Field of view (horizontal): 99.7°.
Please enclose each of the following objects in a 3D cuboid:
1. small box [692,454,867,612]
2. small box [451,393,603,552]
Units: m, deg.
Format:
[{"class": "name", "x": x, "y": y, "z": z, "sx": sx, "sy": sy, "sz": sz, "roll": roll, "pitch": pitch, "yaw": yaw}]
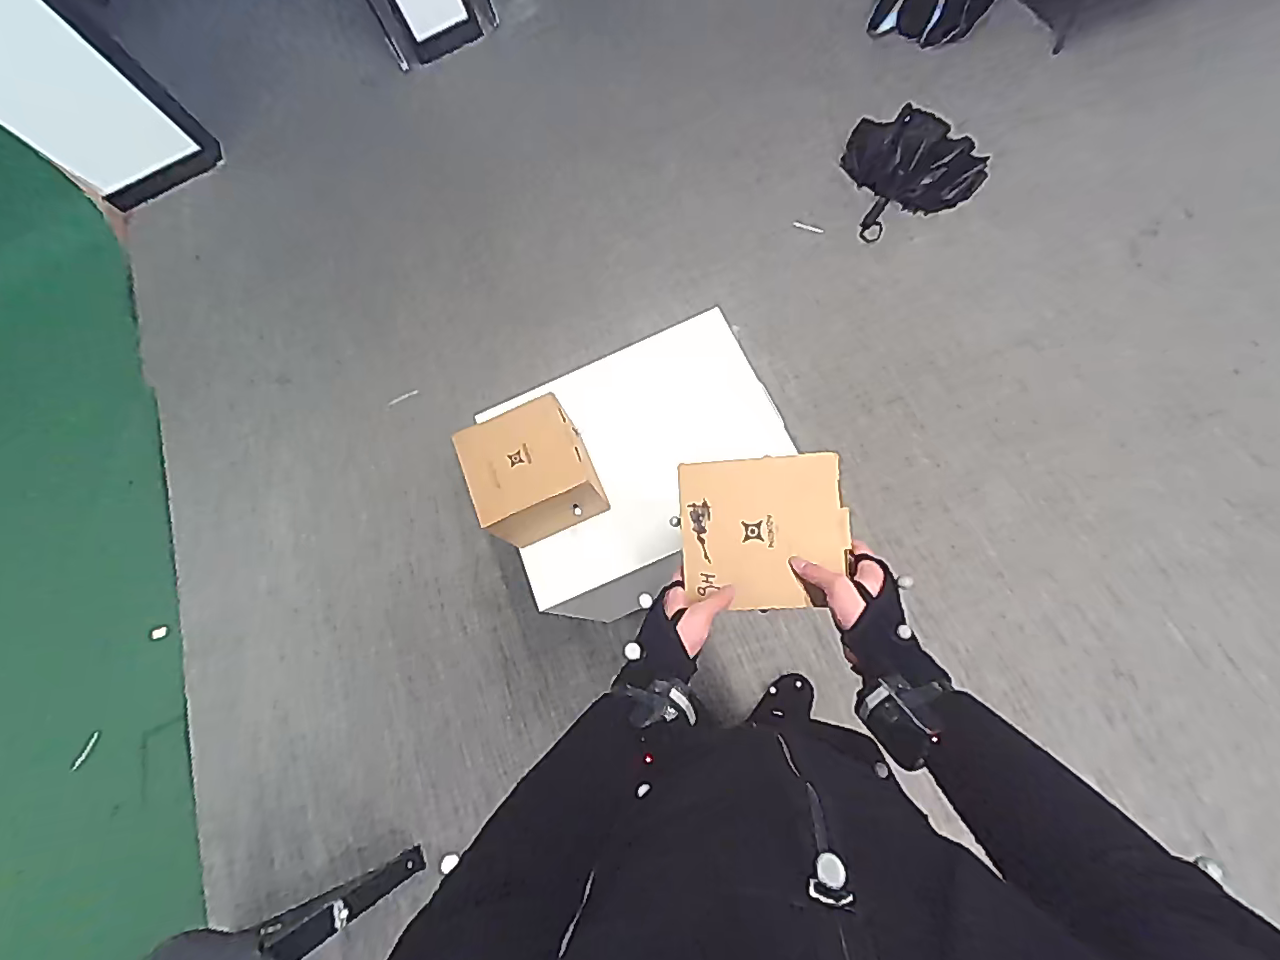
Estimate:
[{"class": "small box", "x": 0.153, "y": 0.067, "z": 0.650, "sx": 0.179, "sy": 0.176, "sz": 0.168, "roll": -3, "pitch": 80, "yaw": 7}, {"class": "small box", "x": -0.168, "y": -0.004, "z": 0.864, "sx": 0.179, "sy": 0.176, "sz": 0.168, "roll": -24, "pitch": 69, "yaw": -2}]
